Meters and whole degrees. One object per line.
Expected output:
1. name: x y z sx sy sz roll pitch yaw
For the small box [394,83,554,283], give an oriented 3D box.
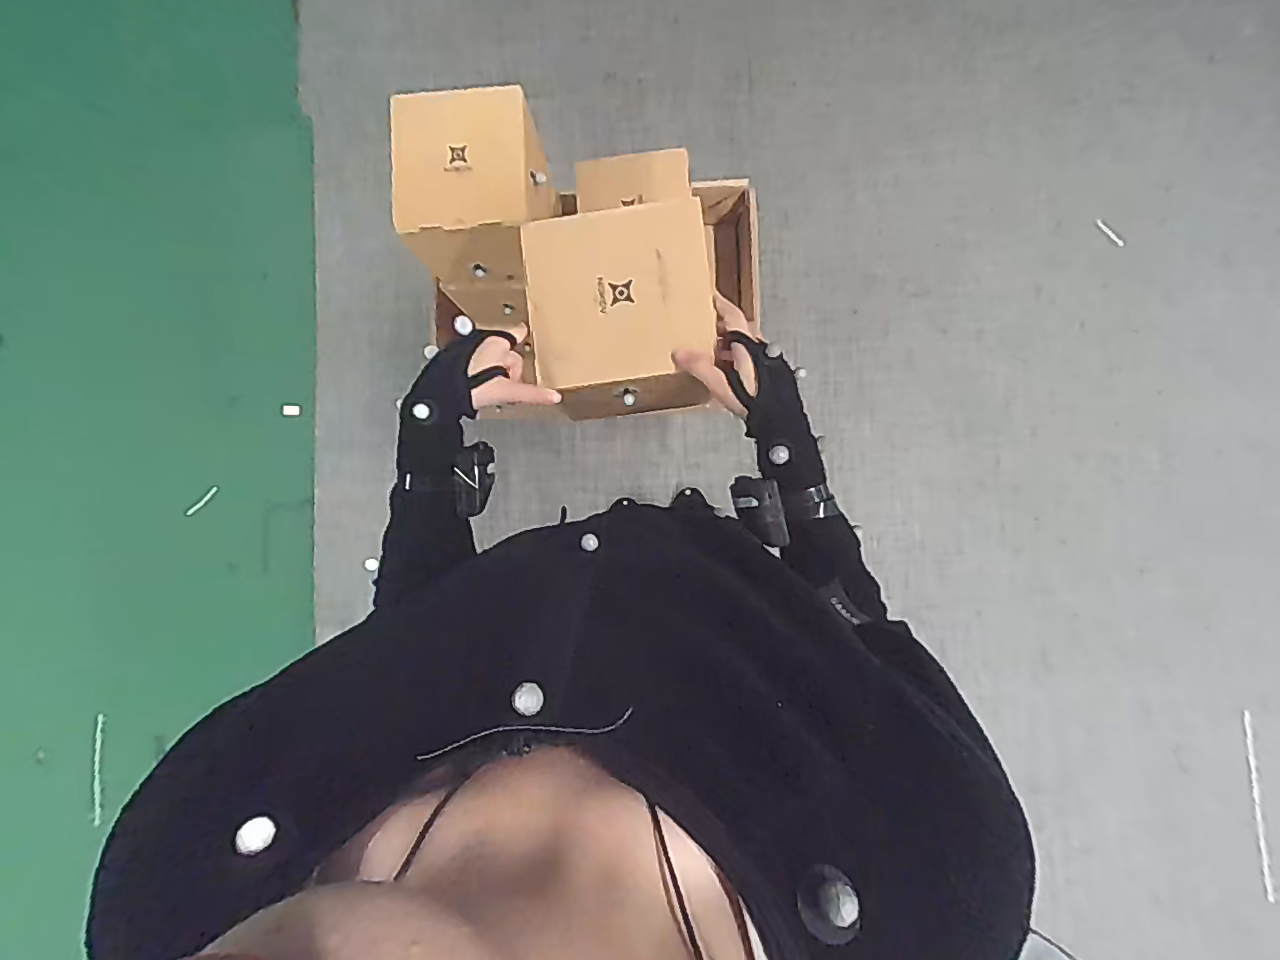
1. small box: -0.215 -0.390 0.735 0.168 0.176 0.179 -3 87 2
